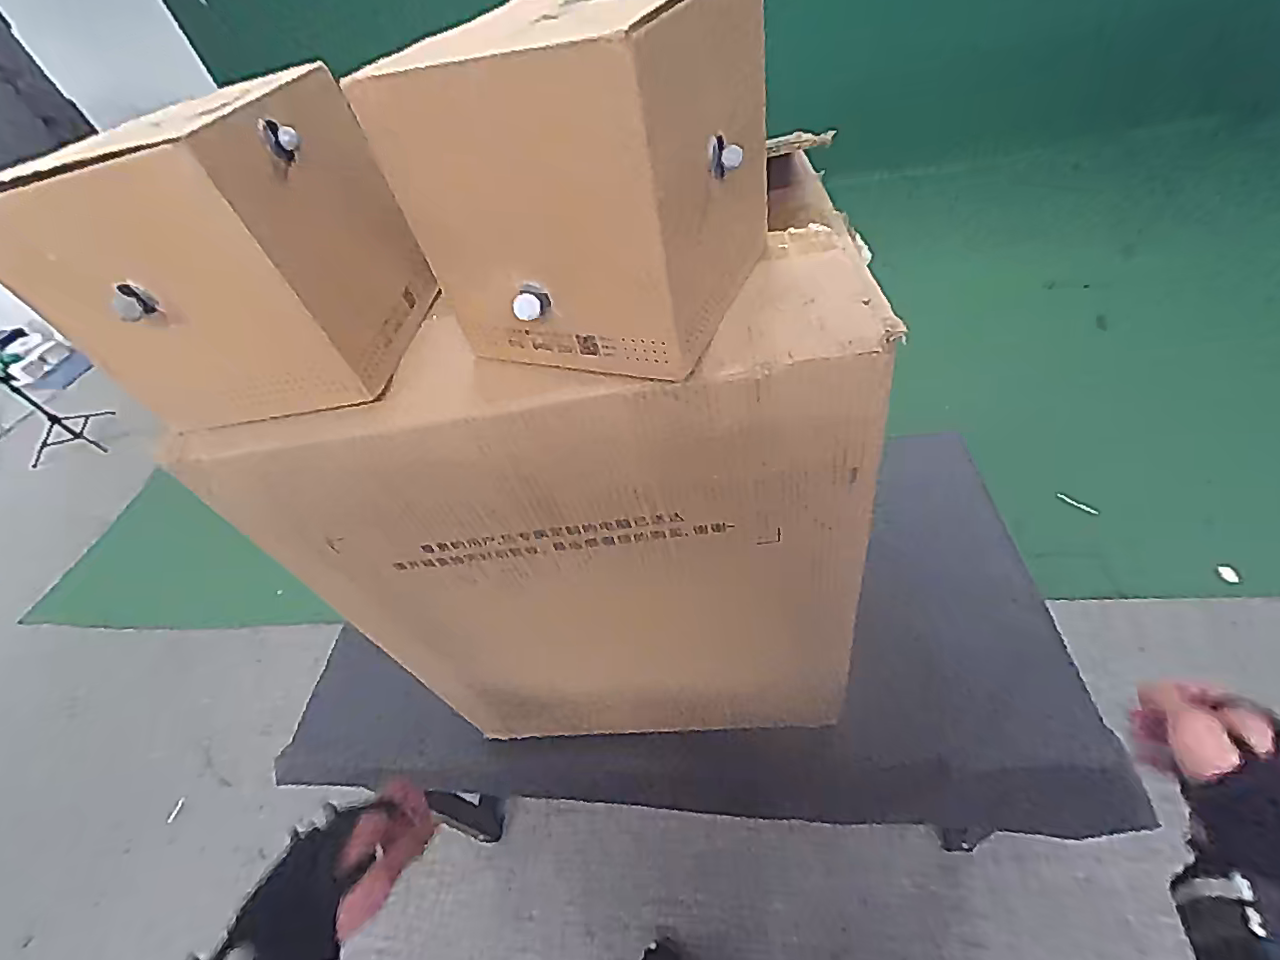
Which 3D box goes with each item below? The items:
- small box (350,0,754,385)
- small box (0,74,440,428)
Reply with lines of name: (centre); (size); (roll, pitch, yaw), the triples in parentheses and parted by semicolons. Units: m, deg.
small box: (-0.029, -0.188, 0.350); (0.168, 0.176, 0.179); (12, 53, 25)
small box: (-0.283, -0.156, 0.396); (0.179, 0.176, 0.168); (-8, 47, 11)
